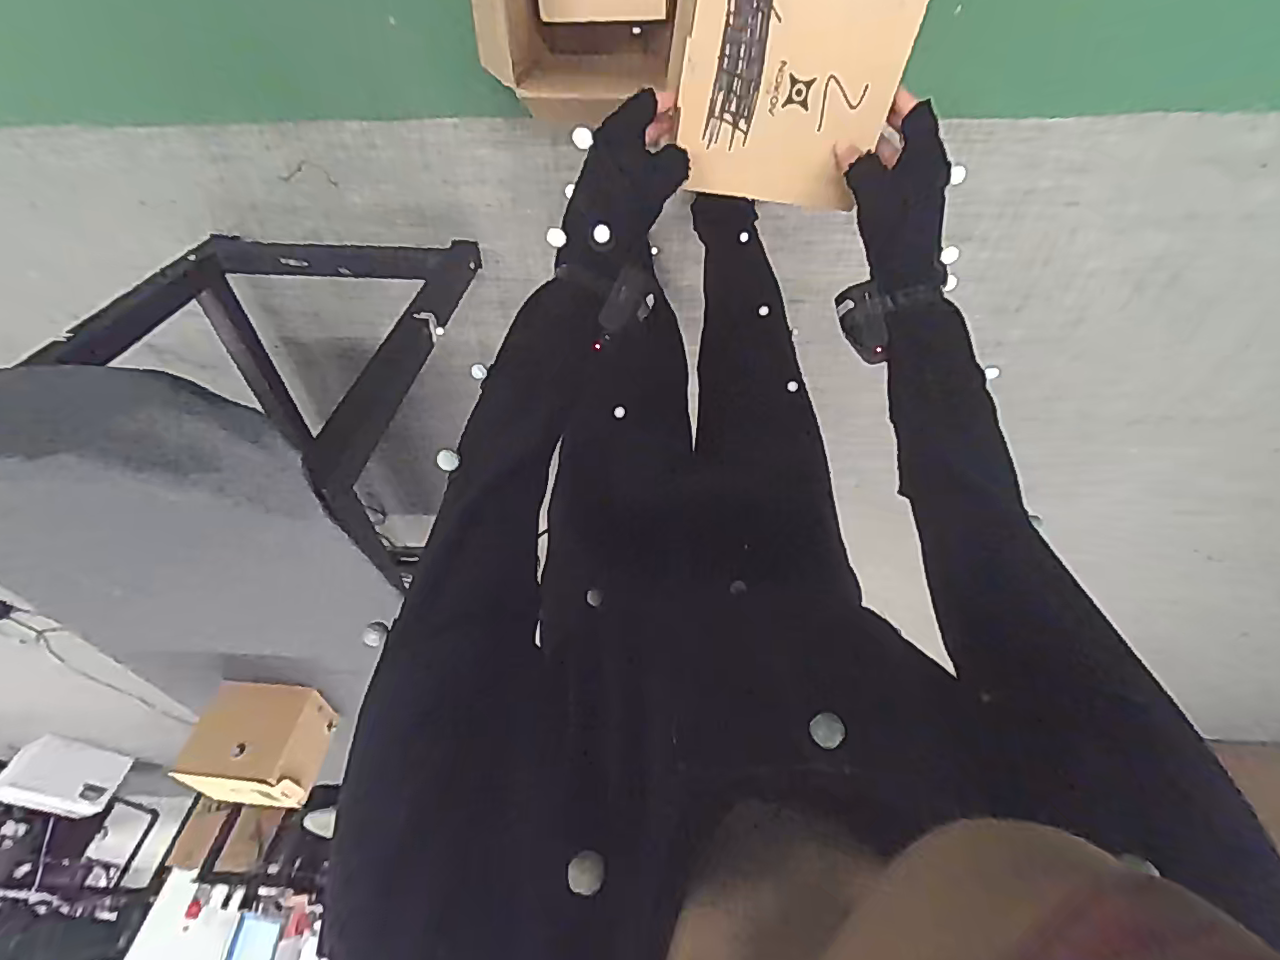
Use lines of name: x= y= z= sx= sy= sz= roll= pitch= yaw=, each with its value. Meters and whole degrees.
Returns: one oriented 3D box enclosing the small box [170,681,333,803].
small box: x=-0.722 y=0.502 z=1.038 sx=0.179 sy=0.176 sz=0.168 roll=5 pitch=136 yaw=0
